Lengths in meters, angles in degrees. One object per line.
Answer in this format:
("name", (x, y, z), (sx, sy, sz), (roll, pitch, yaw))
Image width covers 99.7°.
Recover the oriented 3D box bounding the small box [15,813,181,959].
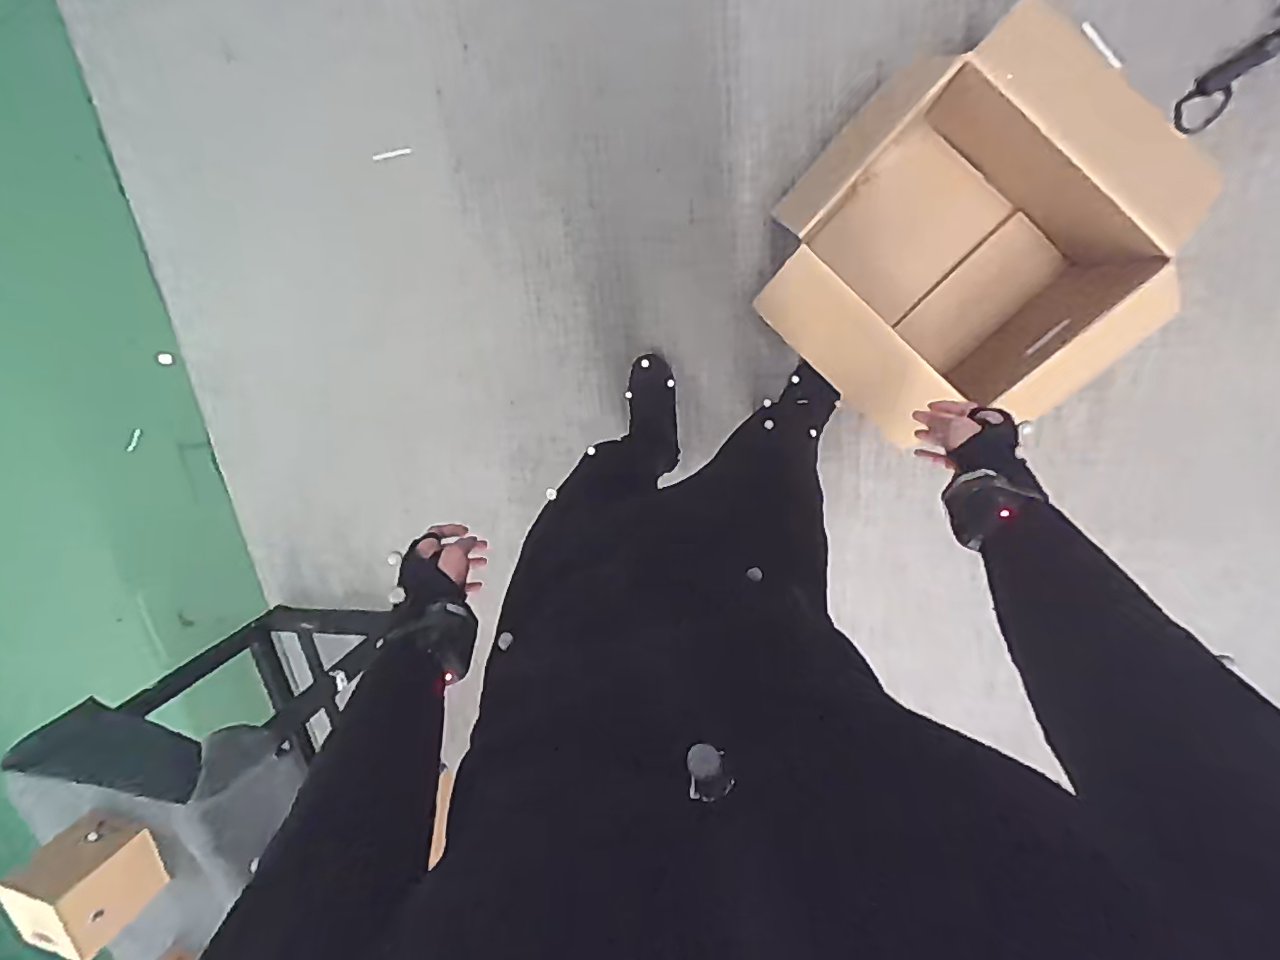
("small box", (-1.123, 0.852, 1.138), (0.168, 0.176, 0.179), (5, 110, 14))
